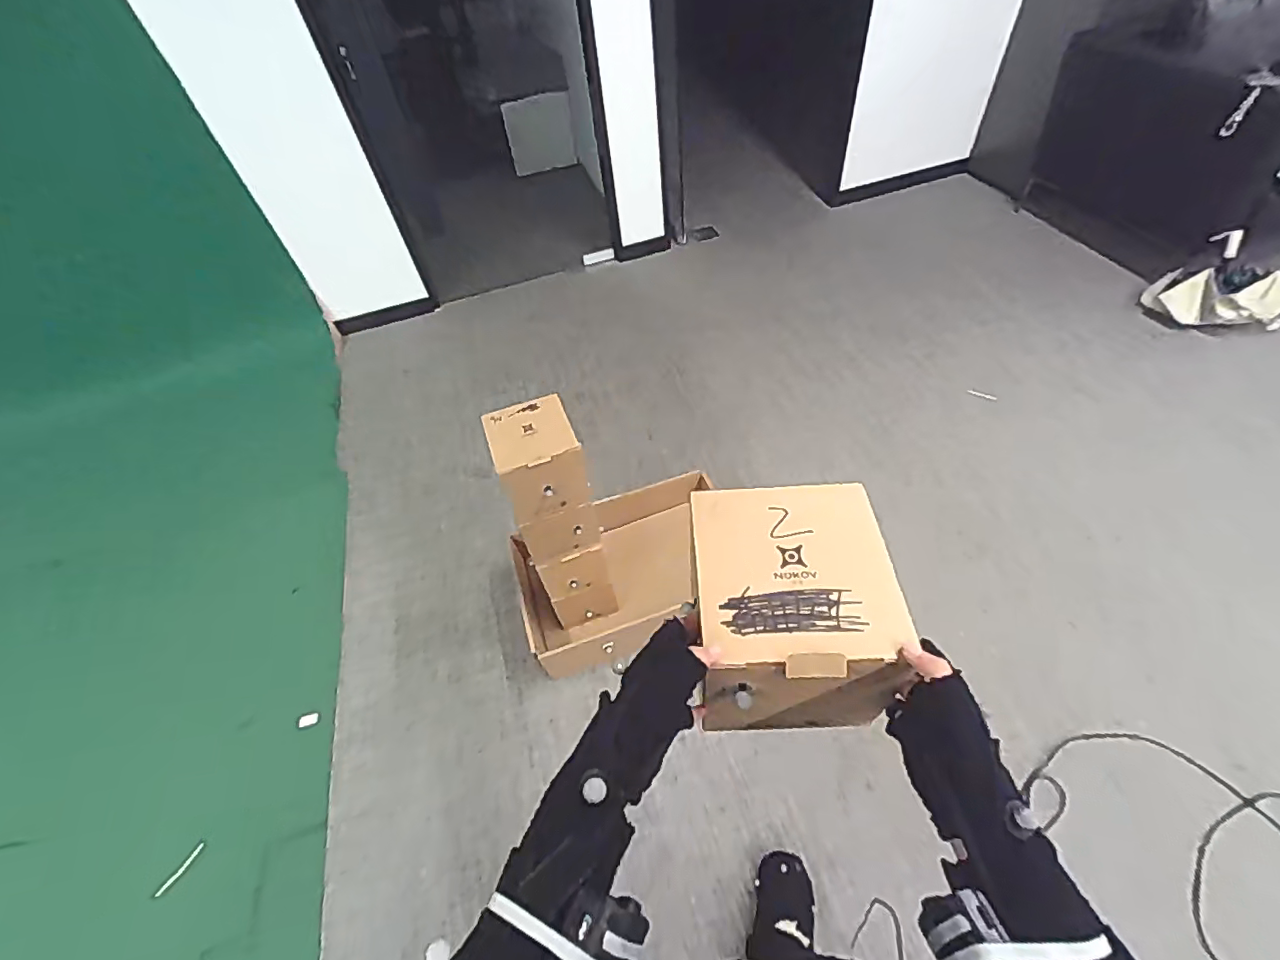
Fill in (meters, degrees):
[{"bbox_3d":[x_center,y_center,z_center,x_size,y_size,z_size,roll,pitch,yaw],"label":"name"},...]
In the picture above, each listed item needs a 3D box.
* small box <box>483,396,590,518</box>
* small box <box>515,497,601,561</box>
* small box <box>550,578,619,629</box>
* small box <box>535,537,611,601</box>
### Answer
[{"bbox_3d":[-0.211,-0.040,1.125,0.168,0.176,0.179,-18,52,-10],"label":"small box"},{"bbox_3d":[-0.197,0.067,1.248,0.168,0.176,0.179,-18,51,-10],"label":"small box"},{"bbox_3d":[-0.164,0.280,1.493,0.168,0.176,0.179,-17,51,-7],"label":"small box"},{"bbox_3d":[-0.179,0.175,1.370,0.168,0.176,0.179,-17,51,-8],"label":"small box"}]
